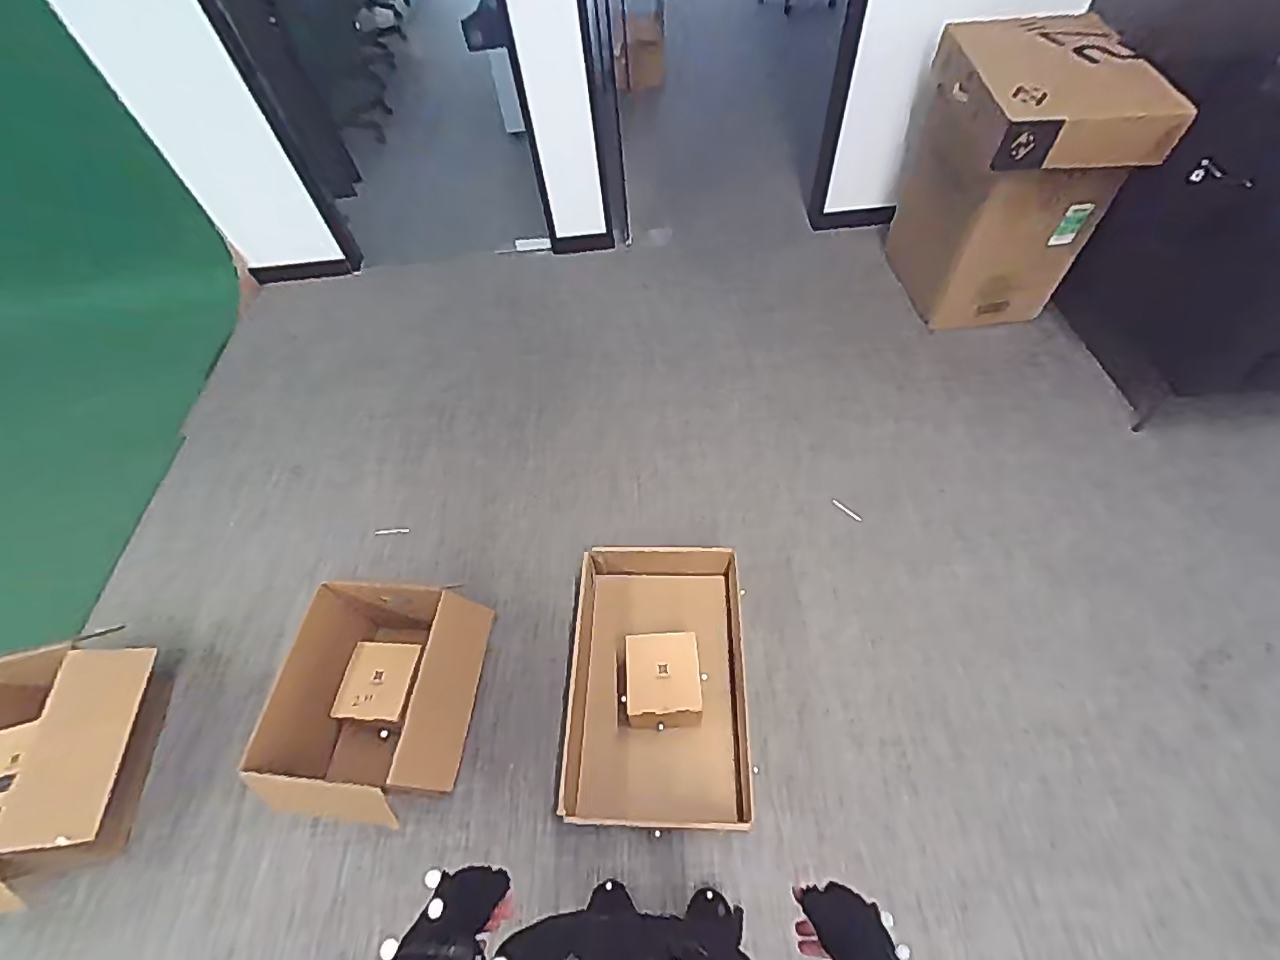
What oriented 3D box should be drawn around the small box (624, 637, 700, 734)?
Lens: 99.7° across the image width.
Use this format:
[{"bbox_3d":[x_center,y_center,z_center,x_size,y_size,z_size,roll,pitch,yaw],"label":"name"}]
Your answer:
[{"bbox_3d":[0.049,0.484,1.269,0.168,0.176,0.179,-4,55,1],"label":"small box"}]
